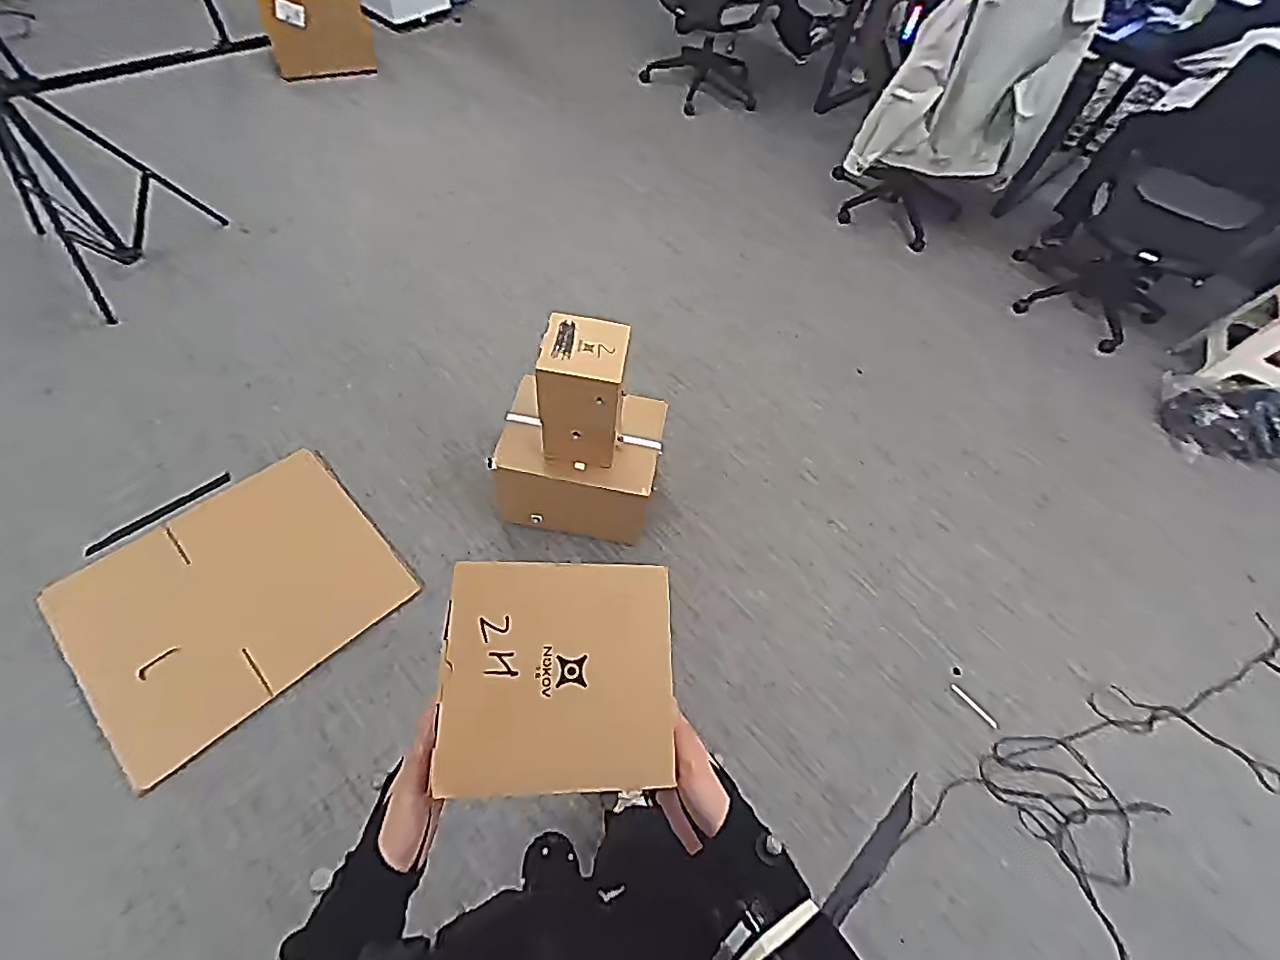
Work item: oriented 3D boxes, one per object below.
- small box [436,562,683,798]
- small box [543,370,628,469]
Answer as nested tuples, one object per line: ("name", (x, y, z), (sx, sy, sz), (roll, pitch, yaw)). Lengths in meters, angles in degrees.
("small box", (-0.069, 0.174, 0.482), (0.179, 0.176, 0.168), (2, 67, -10))
("small box", (-0.133, -0.143, 1.330), (0.179, 0.176, 0.168), (9, 59, -3))
